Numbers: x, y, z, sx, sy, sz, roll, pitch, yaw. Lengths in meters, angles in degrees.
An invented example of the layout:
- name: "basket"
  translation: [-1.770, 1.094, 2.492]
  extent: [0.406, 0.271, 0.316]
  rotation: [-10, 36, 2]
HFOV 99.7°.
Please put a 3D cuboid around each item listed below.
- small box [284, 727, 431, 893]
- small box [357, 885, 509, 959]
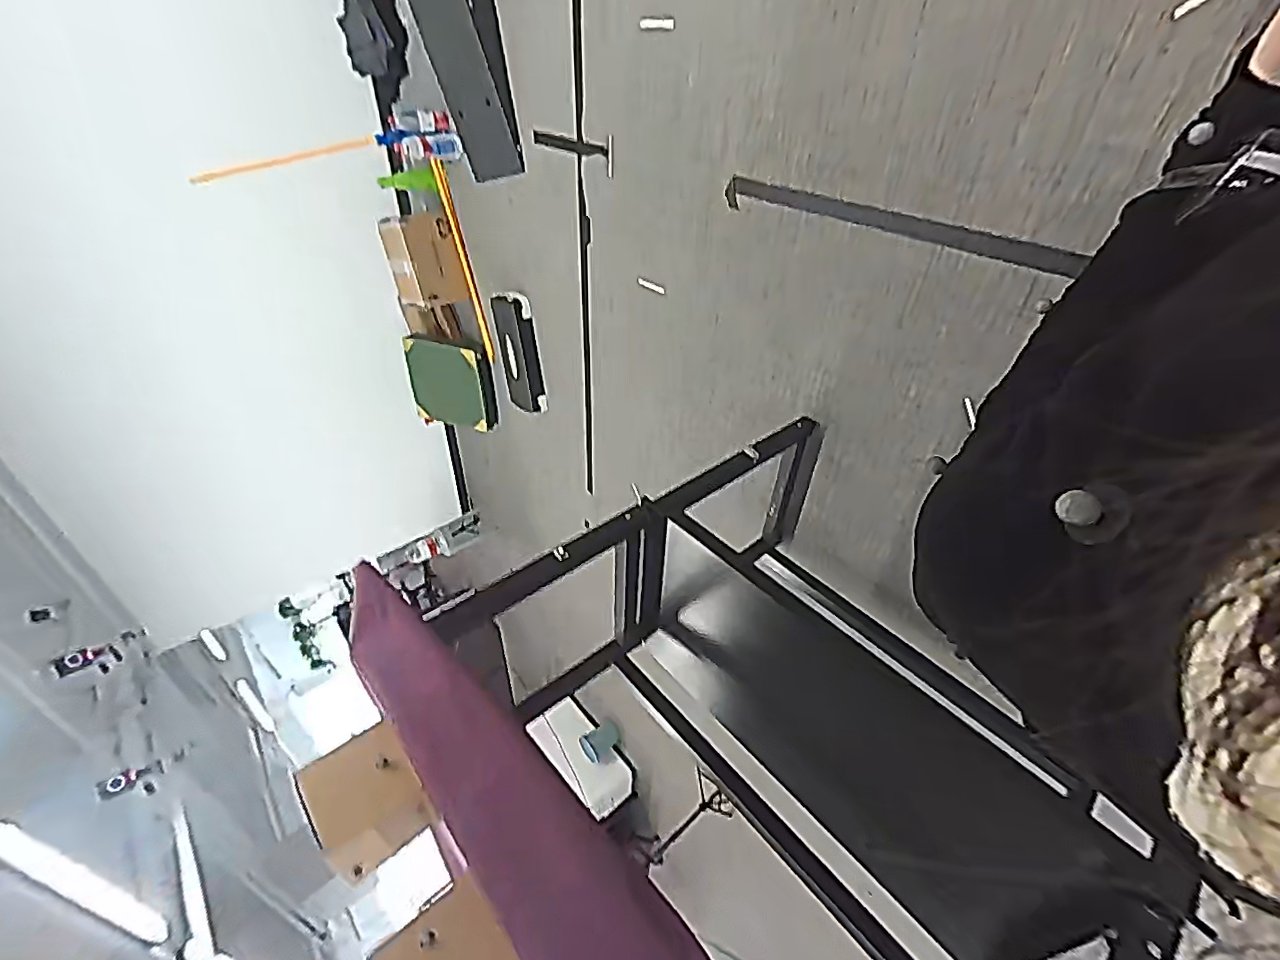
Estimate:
- name: "small box"
  translation: [-0.502, 0.581, 0.976]
  extent: [0.179, 0.176, 0.168]
  rotation: [39, 140, 33]
- name: "small box"
  translation: [-0.295, 0.759, 0.816]
  extent: [0.179, 0.176, 0.168]
  rotation: [38, 140, 33]
